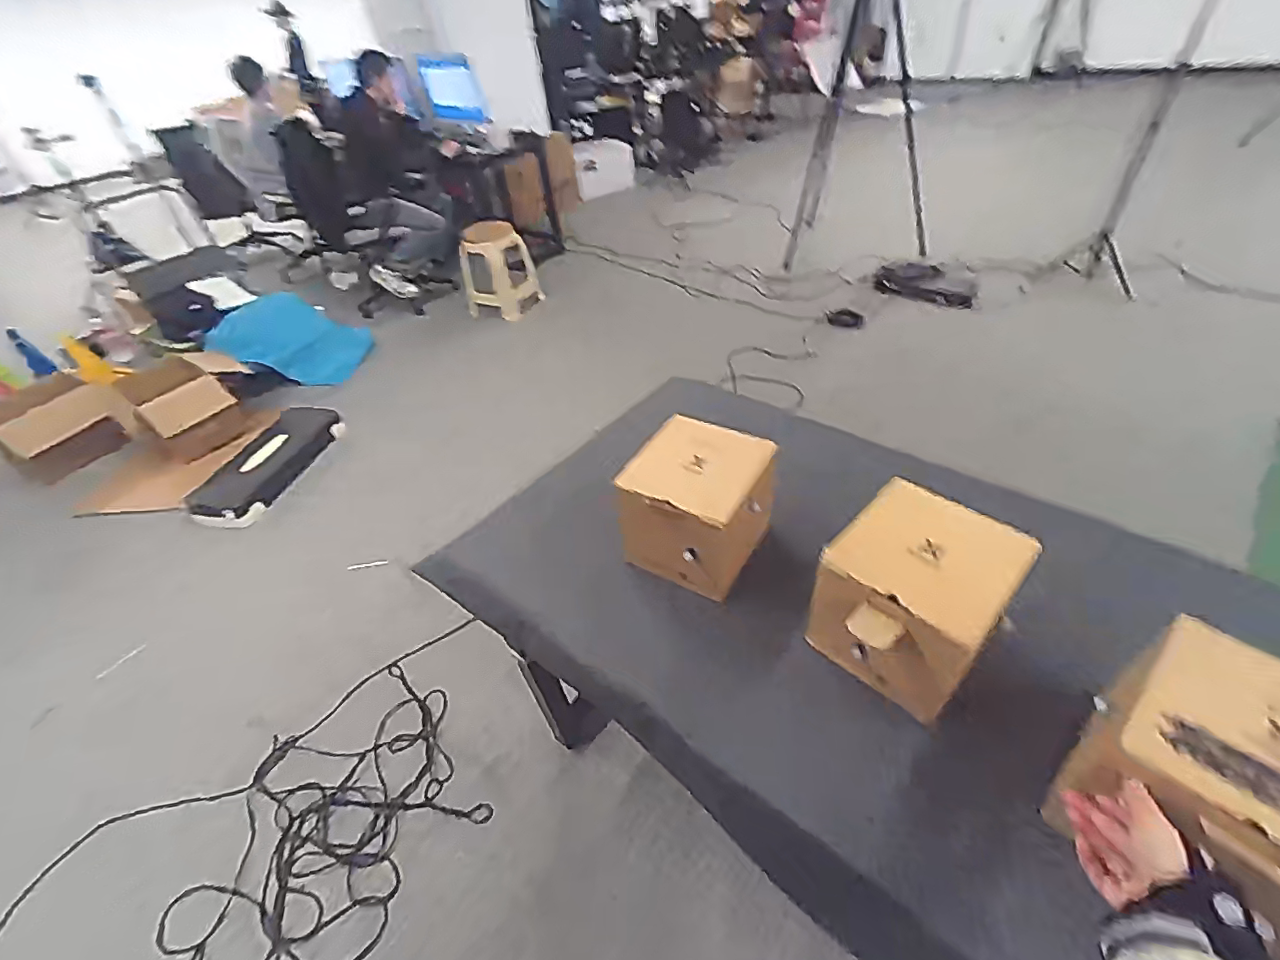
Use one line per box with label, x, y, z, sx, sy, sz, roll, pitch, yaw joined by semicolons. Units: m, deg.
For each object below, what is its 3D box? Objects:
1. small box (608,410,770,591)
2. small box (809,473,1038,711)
small box;0.076;0.030;0.784;0.168;0.176;0.179;20;47;25
small box;0.319;0.129;0.639;0.179;0.176;0.168;-37;50;-28
